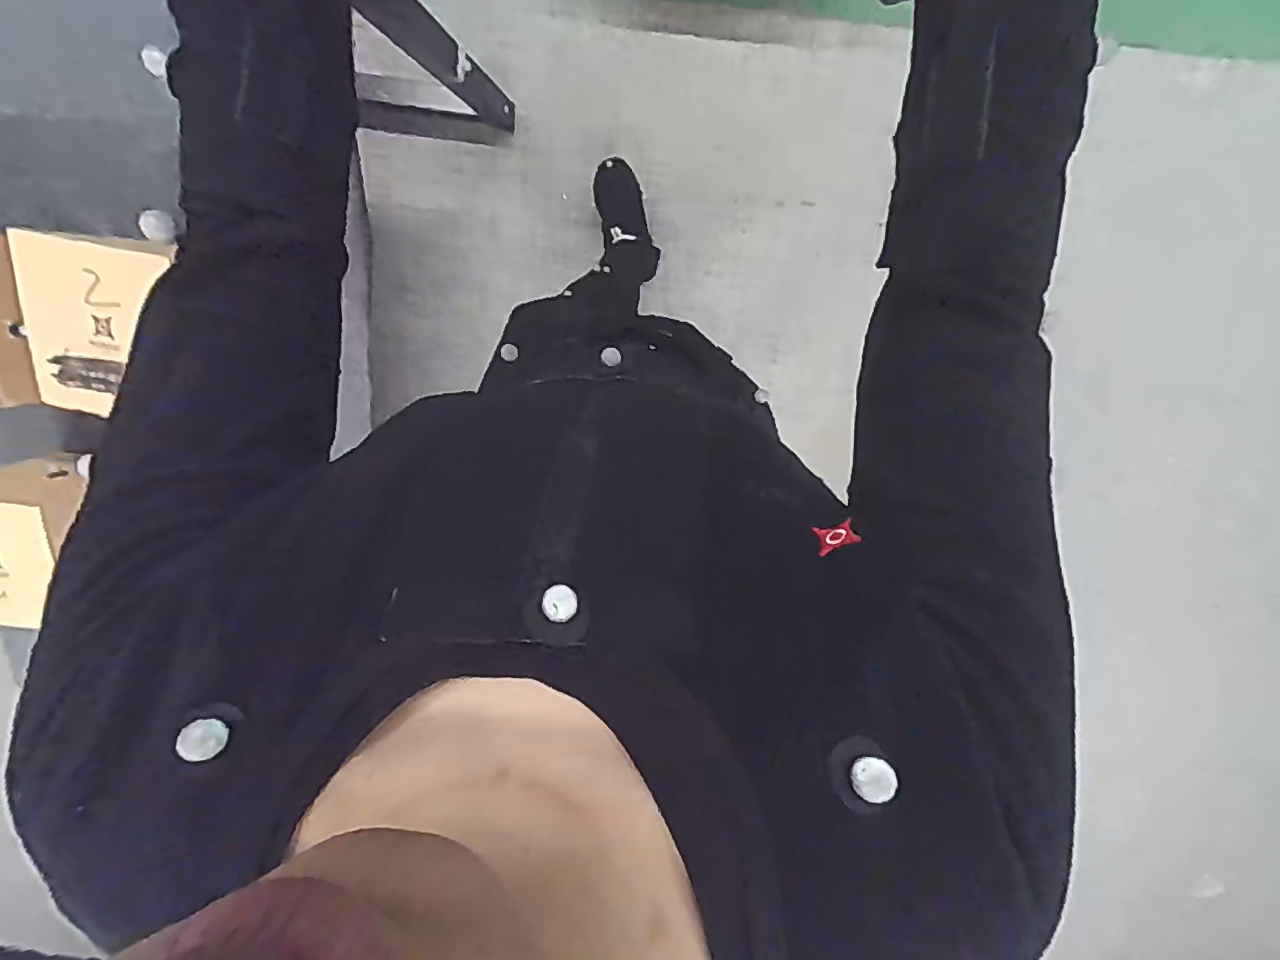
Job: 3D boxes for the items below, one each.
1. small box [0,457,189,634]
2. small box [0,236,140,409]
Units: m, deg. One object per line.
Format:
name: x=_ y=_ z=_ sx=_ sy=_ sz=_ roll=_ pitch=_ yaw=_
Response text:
small box: x=-0.762 y=0.077 z=0.724 sx=0.168 sy=0.176 sz=0.179 roll=6 pitch=110 yaw=3
small box: x=-0.750 y=-0.192 z=0.630 sx=0.168 sy=0.176 sz=0.179 roll=5 pitch=111 yaw=2
